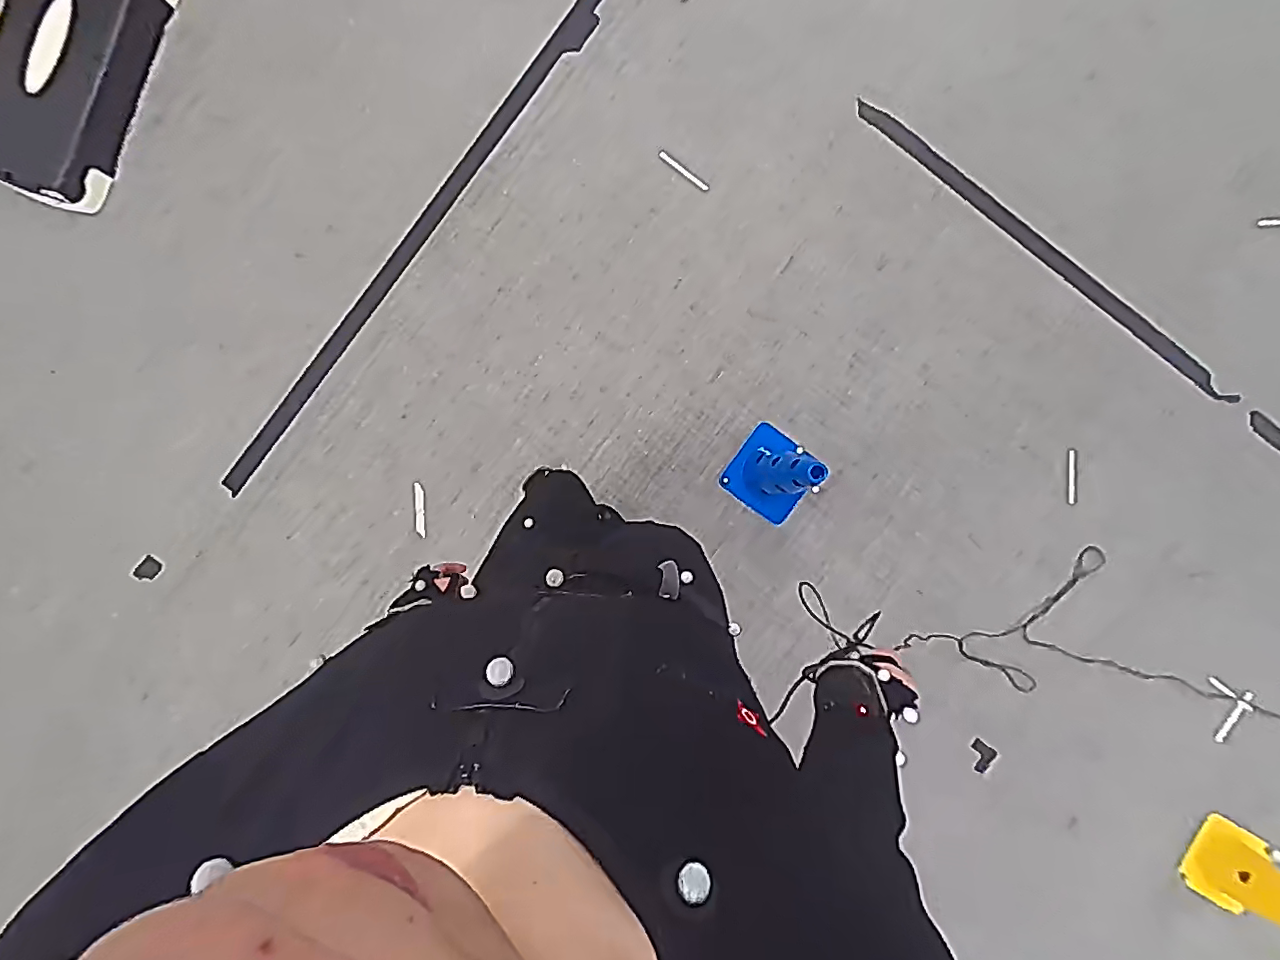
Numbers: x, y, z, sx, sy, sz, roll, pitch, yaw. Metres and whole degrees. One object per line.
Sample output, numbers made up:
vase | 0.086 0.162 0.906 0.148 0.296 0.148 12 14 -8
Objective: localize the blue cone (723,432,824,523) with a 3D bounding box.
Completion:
blue cone | 0.330 -0.003 1.190 0.193 0.380 0.192 38 91 -1
